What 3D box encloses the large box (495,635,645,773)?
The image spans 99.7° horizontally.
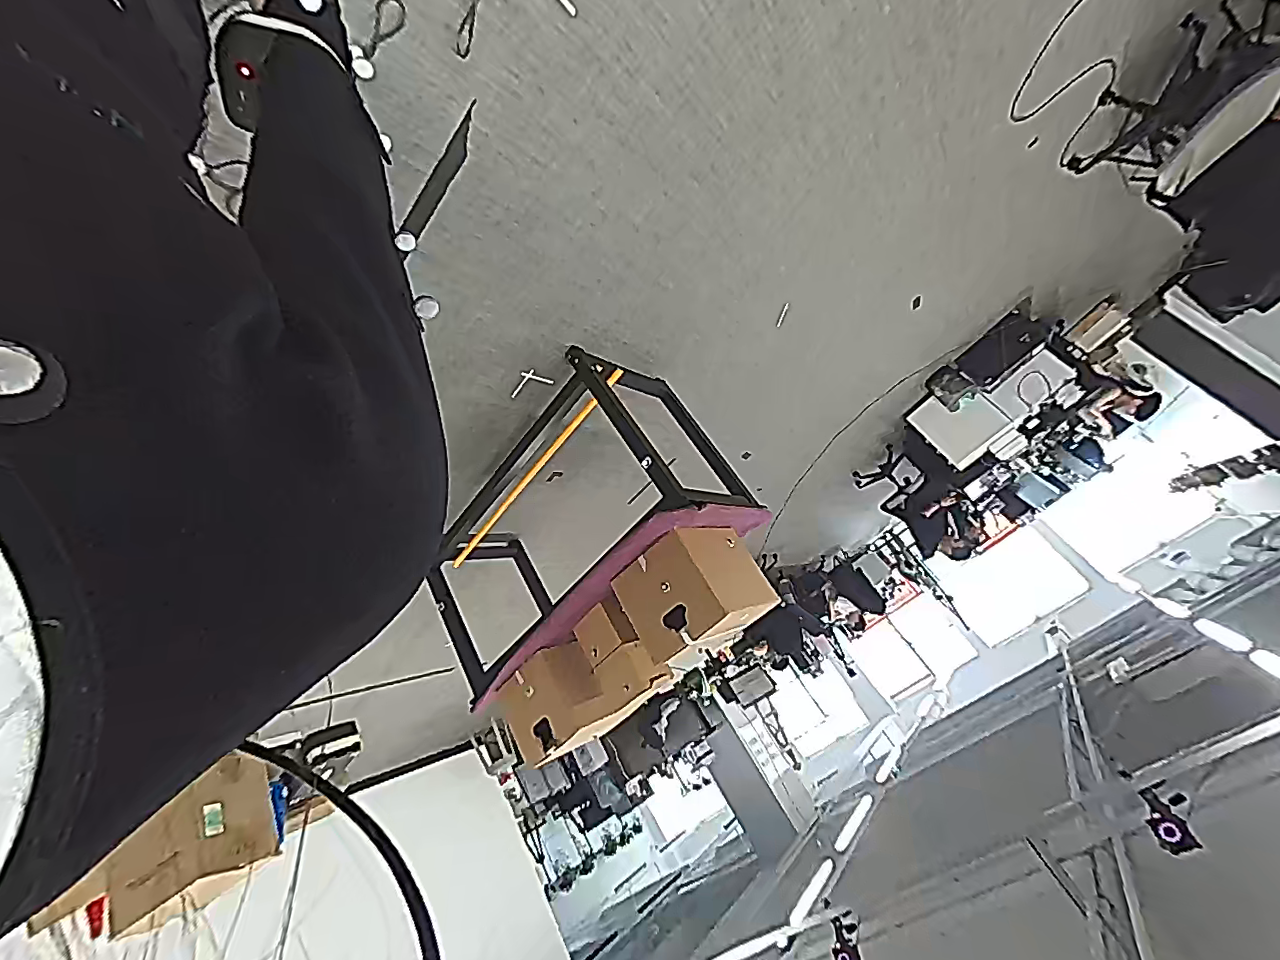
[{"bbox_3d":[-0.267,0.834,2.066,0.320,0.320,0.408,-46,153,23],"label":"large box"}]
